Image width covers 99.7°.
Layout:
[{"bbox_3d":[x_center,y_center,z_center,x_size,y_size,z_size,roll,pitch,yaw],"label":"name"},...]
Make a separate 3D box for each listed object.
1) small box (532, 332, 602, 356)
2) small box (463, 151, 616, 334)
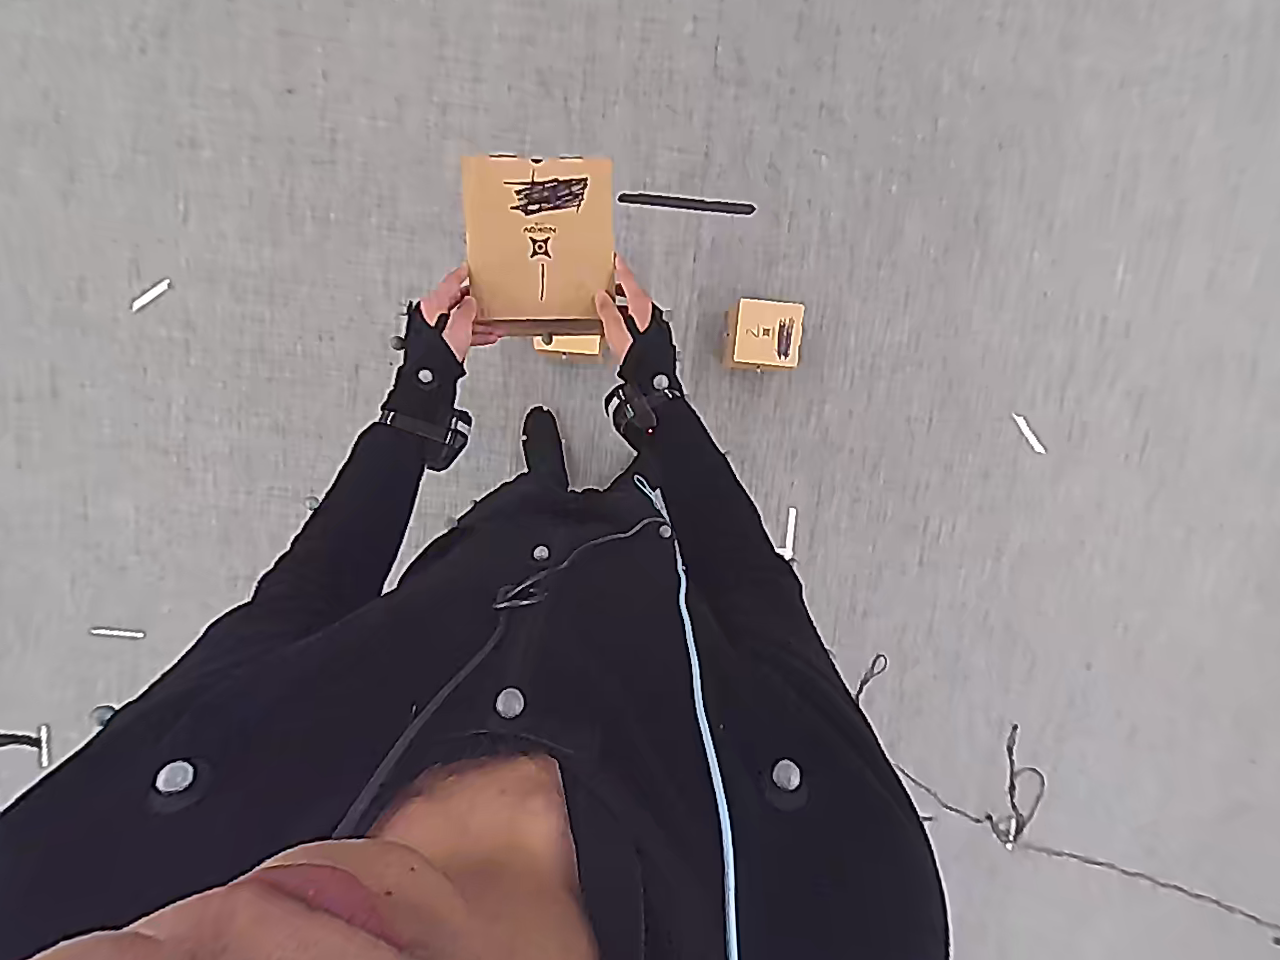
[{"bbox_3d":[-0.194,-0.438,1.493,0.179,0.176,0.168,5,98,-1],"label":"small box"},{"bbox_3d":[-0.118,-0.283,0.680,0.168,0.176,0.179,-2,100,-5],"label":"small box"}]
